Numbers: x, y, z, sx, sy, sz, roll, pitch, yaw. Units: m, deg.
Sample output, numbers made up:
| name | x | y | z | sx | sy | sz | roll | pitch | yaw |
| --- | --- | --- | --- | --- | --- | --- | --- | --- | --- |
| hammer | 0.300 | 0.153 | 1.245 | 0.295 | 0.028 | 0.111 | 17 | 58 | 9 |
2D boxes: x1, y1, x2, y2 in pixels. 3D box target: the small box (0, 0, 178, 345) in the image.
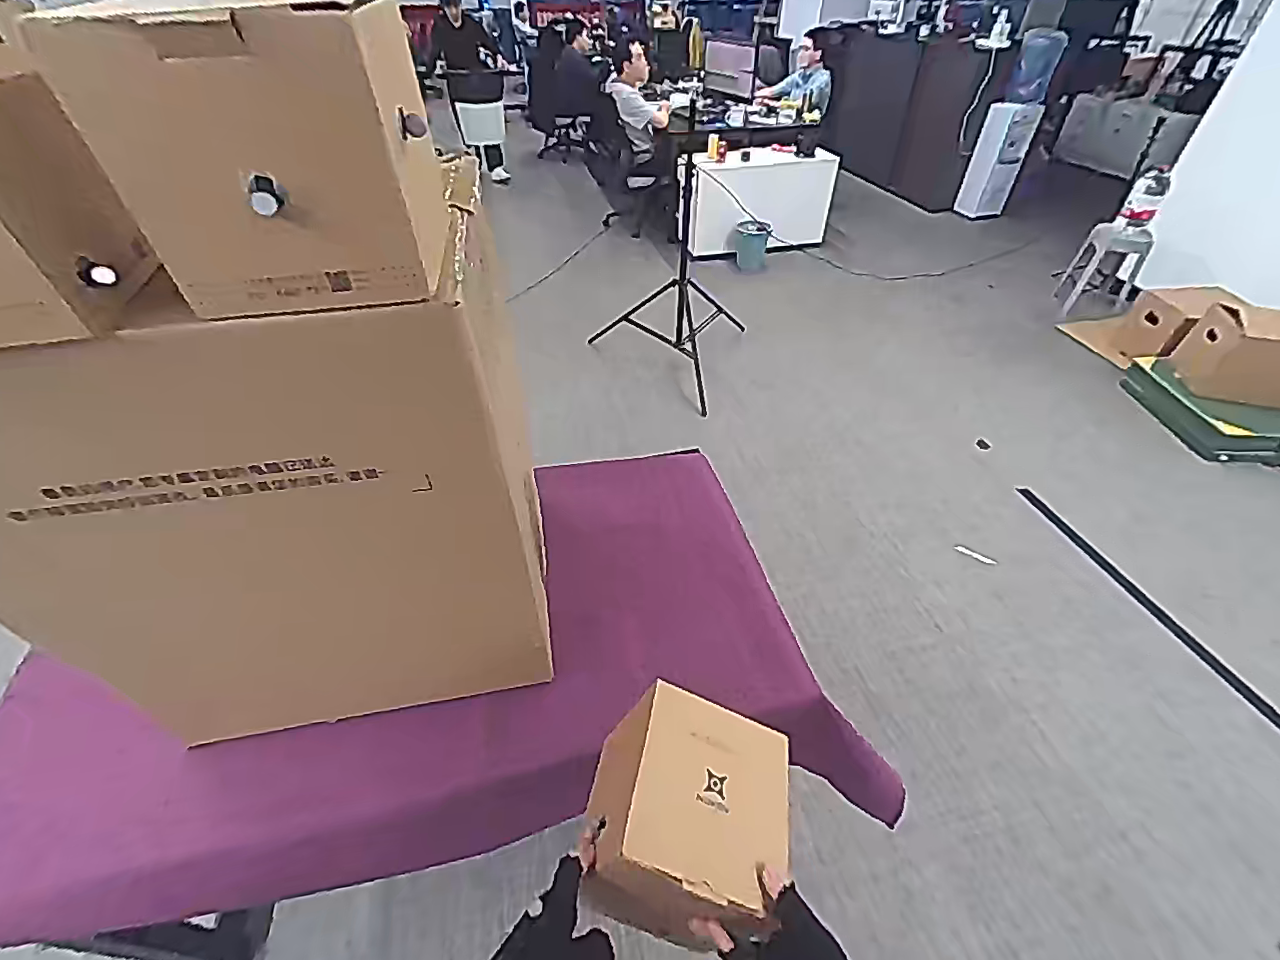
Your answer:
| name | x | y | z | sx | sy | sz | roll | pitch | yaw |
| --- | --- | --- | --- | --- | --- | --- | --- | --- | --- |
| small box | -0.466 | -0.196 | 0.355 | 0.179 | 0.176 | 0.168 | -11 | 45 | -9 |

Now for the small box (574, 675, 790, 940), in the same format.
| name | x | y | z | sx | sy | sz | roll | pitch | yaw |
| --- | --- | --- | --- | --- | --- | --- | --- | --- | --- |
| small box | 0.044 | 0.354 | 0.581 | 0.168 | 0.176 | 0.179 | 26 | 37 | -5 |

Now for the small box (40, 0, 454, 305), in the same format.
| name | x | y | z | sx | sy | sz | roll | pitch | yaw |
| --- | --- | --- | --- | --- | --- | --- | --- | --- | --- |
| small box | -0.245 | -0.242 | 0.402 | 0.168 | 0.176 | 0.179 | -8 | 45 | -7 |
